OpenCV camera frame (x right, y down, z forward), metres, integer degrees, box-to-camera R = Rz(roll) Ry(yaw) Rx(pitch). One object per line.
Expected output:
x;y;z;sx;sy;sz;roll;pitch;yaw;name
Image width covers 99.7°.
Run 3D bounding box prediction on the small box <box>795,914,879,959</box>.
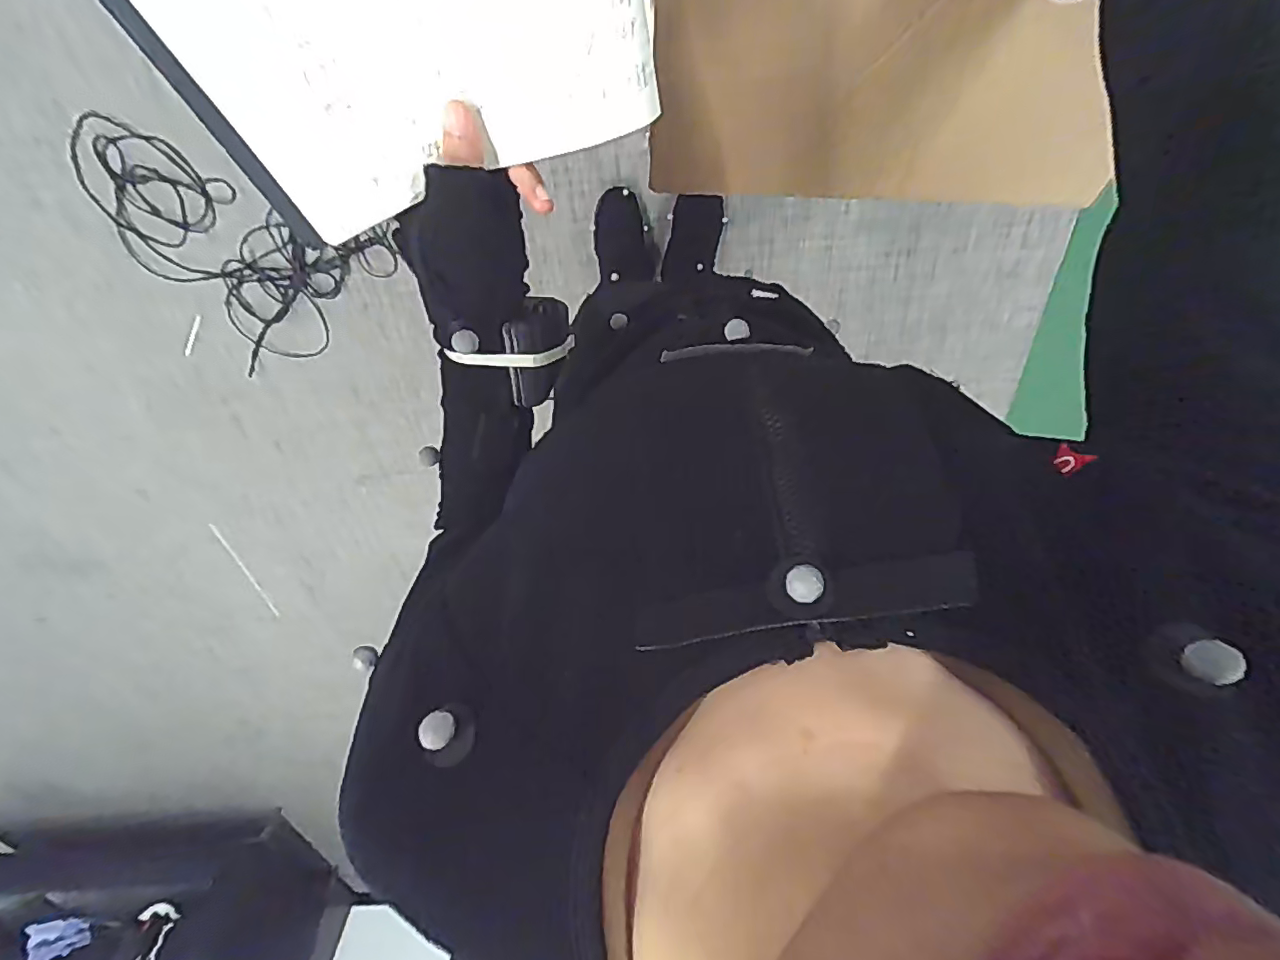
0.484;1.189;1.322;0.168;0.176;0.179;-3;126;3;small box
